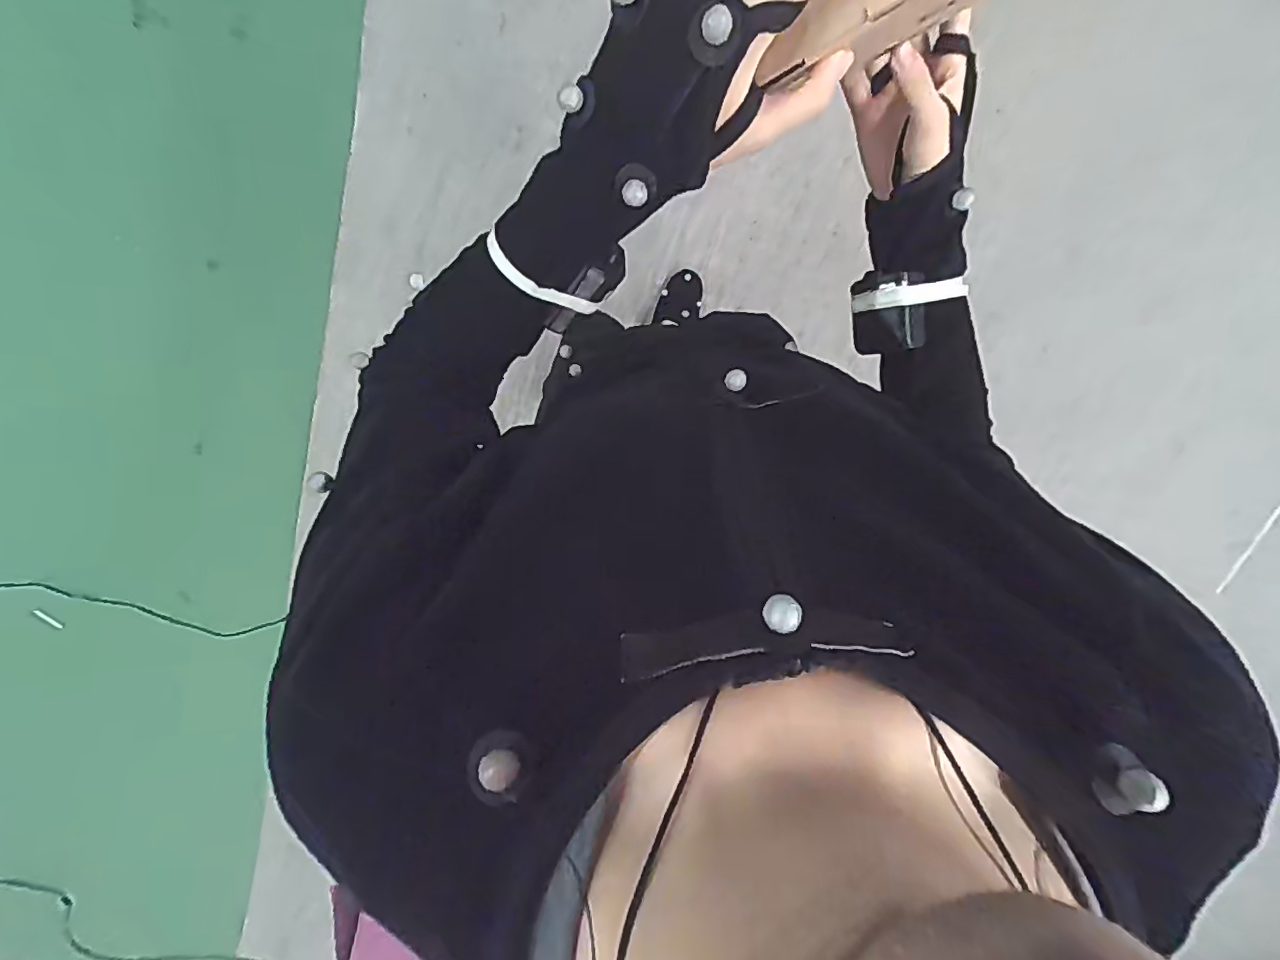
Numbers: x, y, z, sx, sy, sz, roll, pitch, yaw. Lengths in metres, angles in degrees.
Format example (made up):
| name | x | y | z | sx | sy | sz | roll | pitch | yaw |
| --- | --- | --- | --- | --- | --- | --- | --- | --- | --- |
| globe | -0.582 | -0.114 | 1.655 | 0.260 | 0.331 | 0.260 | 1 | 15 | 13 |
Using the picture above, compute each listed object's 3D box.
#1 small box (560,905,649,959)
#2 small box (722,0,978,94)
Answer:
| name | x | y | z | sx | sy | sz | roll | pitch | yaw |
| --- | --- | --- | --- | --- | --- | --- | --- | --- | --- |
| small box | -0.071 | 0.944 | 1.008 | 0.168 | 0.176 | 0.179 | 5 | 109 | -3 |
| small box | 0.117 | -0.315 | 0.247 | 0.168 | 0.179 | 0.176 | -8 | 116 | 36 |
